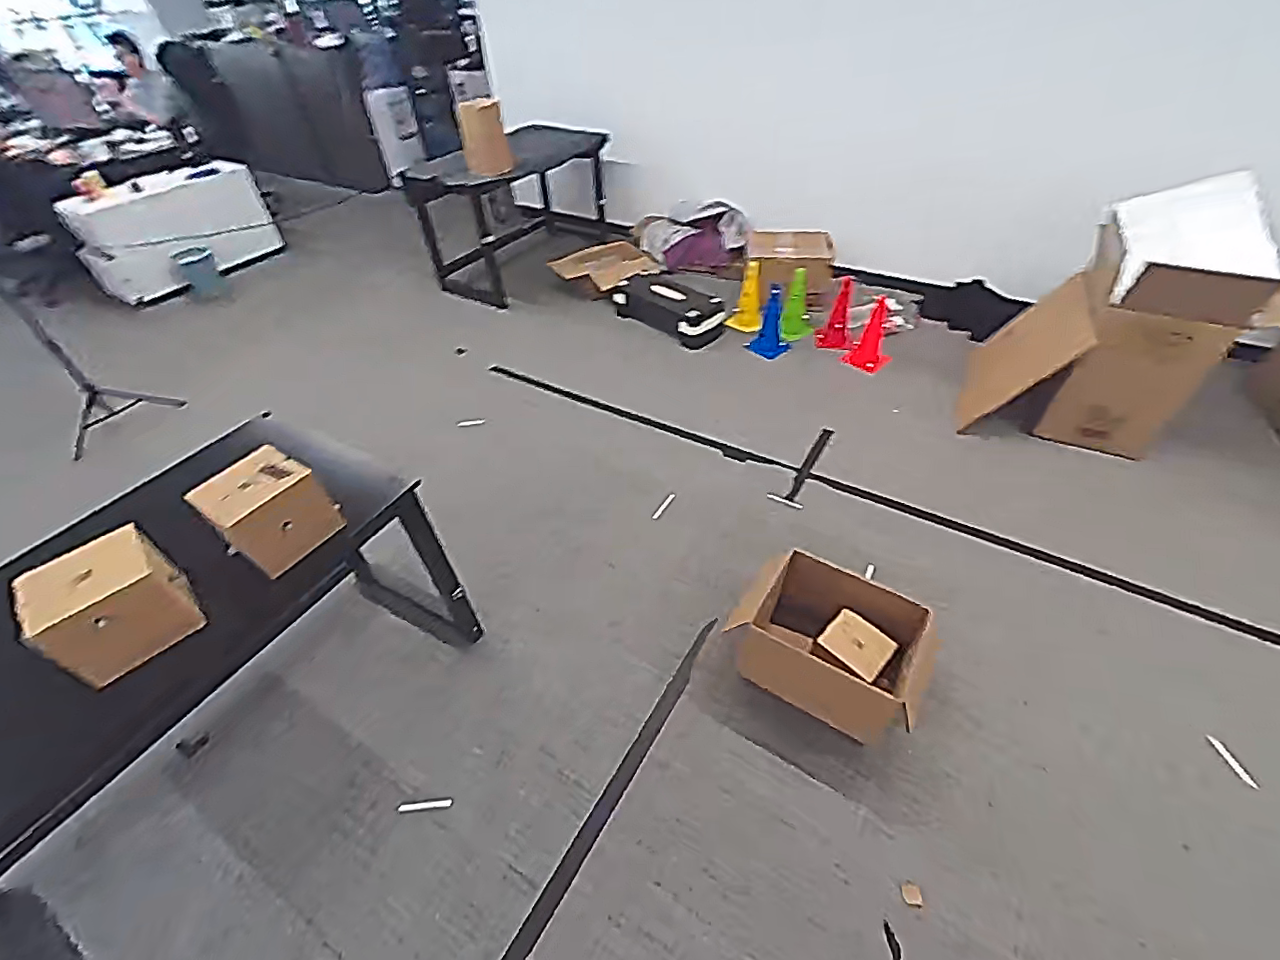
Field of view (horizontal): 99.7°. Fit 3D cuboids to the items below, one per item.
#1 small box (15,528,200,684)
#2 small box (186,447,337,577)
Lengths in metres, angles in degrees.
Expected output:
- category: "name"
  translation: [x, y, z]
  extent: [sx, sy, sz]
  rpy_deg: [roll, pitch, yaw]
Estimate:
- category: "small box"
  translation: [-0.947, 0.227, 0.979]
  extent: [0.168, 0.176, 0.179]
  rpy_deg: [33, 56, 32]
- category: "small box"
  translation: [-0.771, 0.067, 1.127]
  extent: [0.168, 0.176, 0.179]
  rpy_deg: [23, 52, 25]
